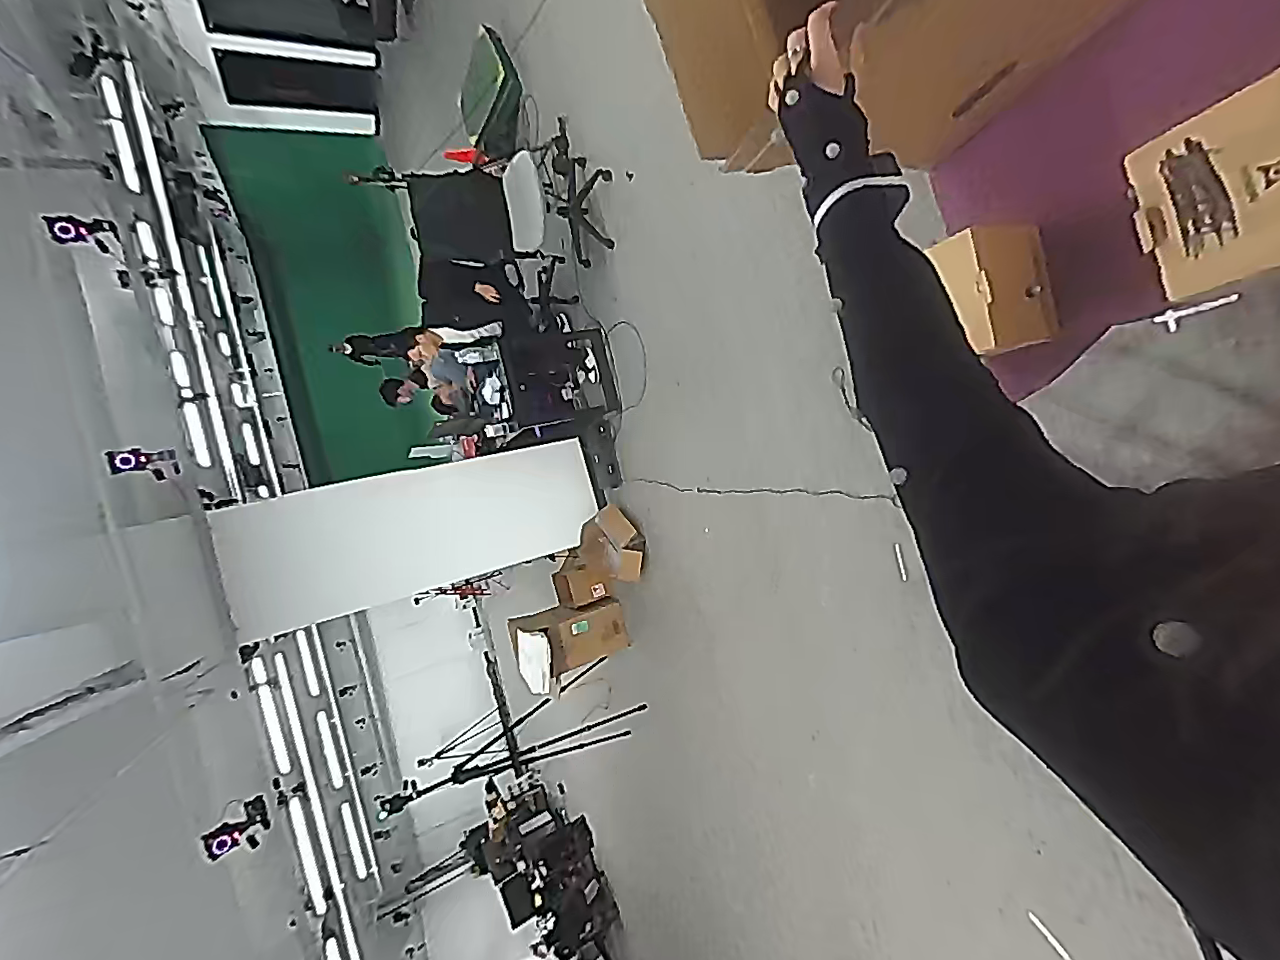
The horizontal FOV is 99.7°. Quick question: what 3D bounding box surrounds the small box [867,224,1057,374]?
[{"bbox_3d":[0.489,-0.270,0.830,0.179,0.176,0.168,-11,93,62],"label":"small box"}]
